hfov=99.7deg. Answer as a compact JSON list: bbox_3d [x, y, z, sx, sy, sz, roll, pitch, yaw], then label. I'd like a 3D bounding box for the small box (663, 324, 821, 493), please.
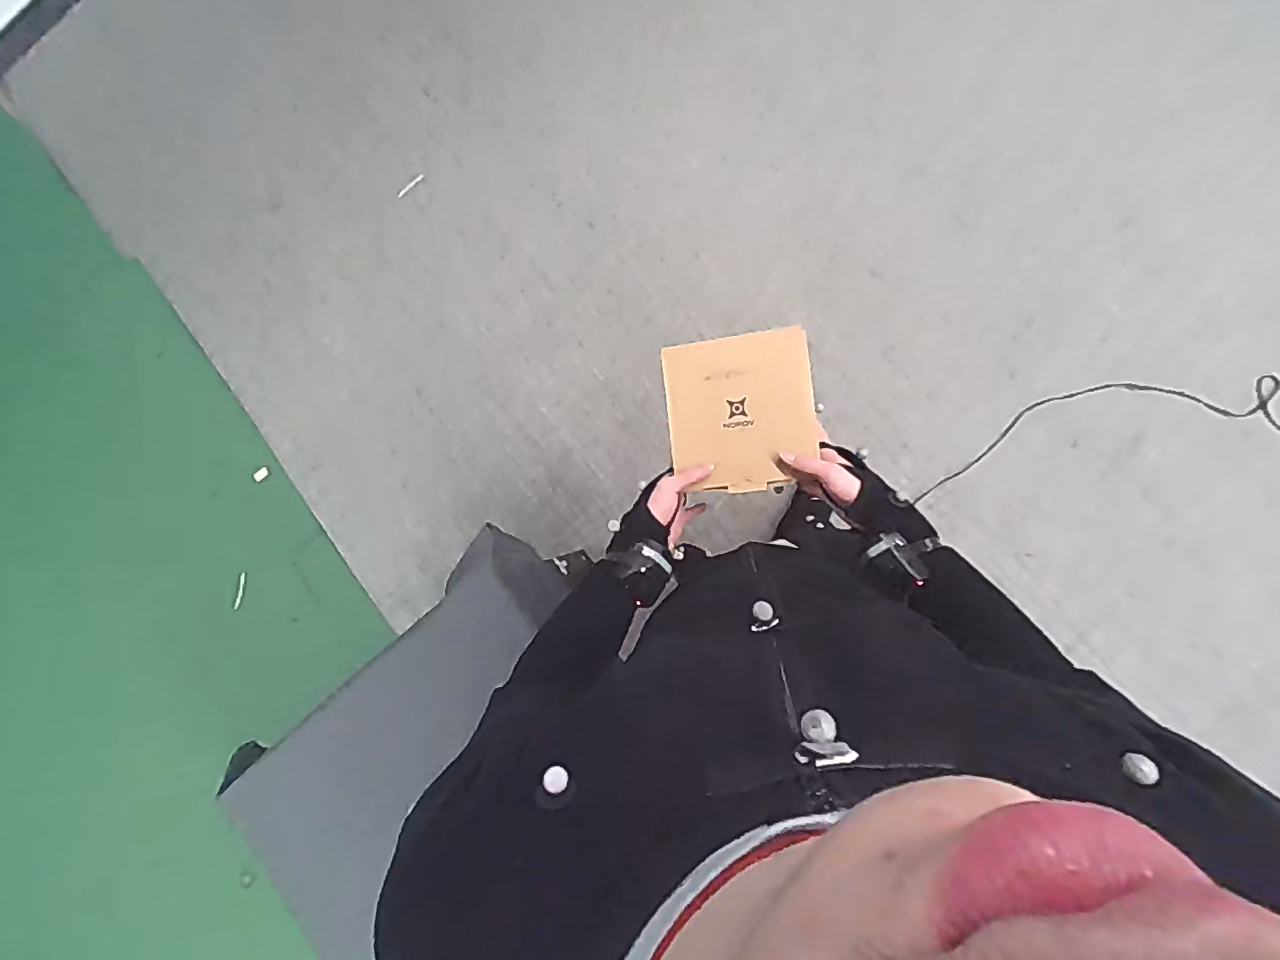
[{"bbox_3d":[0.135,-0.084,0.705,0.168,0.176,0.179,-8,90,13],"label":"small box"}]
